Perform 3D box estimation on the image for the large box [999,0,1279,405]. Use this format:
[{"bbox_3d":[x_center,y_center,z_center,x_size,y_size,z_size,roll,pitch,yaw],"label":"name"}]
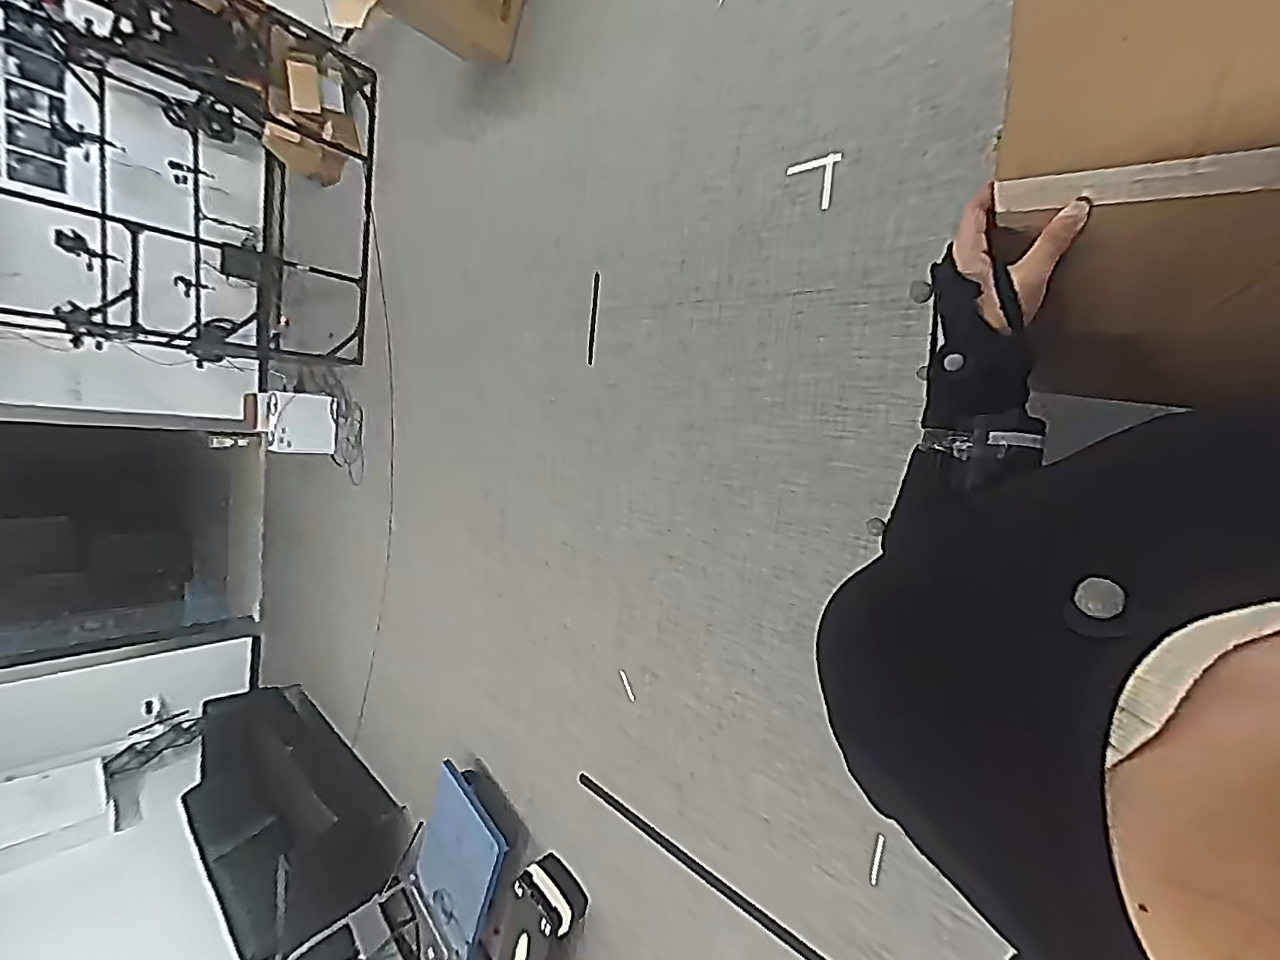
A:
[{"bbox_3d":[0.496,-0.249,0.321,0.408,0.320,0.320,18,141,44],"label":"large box"}]
